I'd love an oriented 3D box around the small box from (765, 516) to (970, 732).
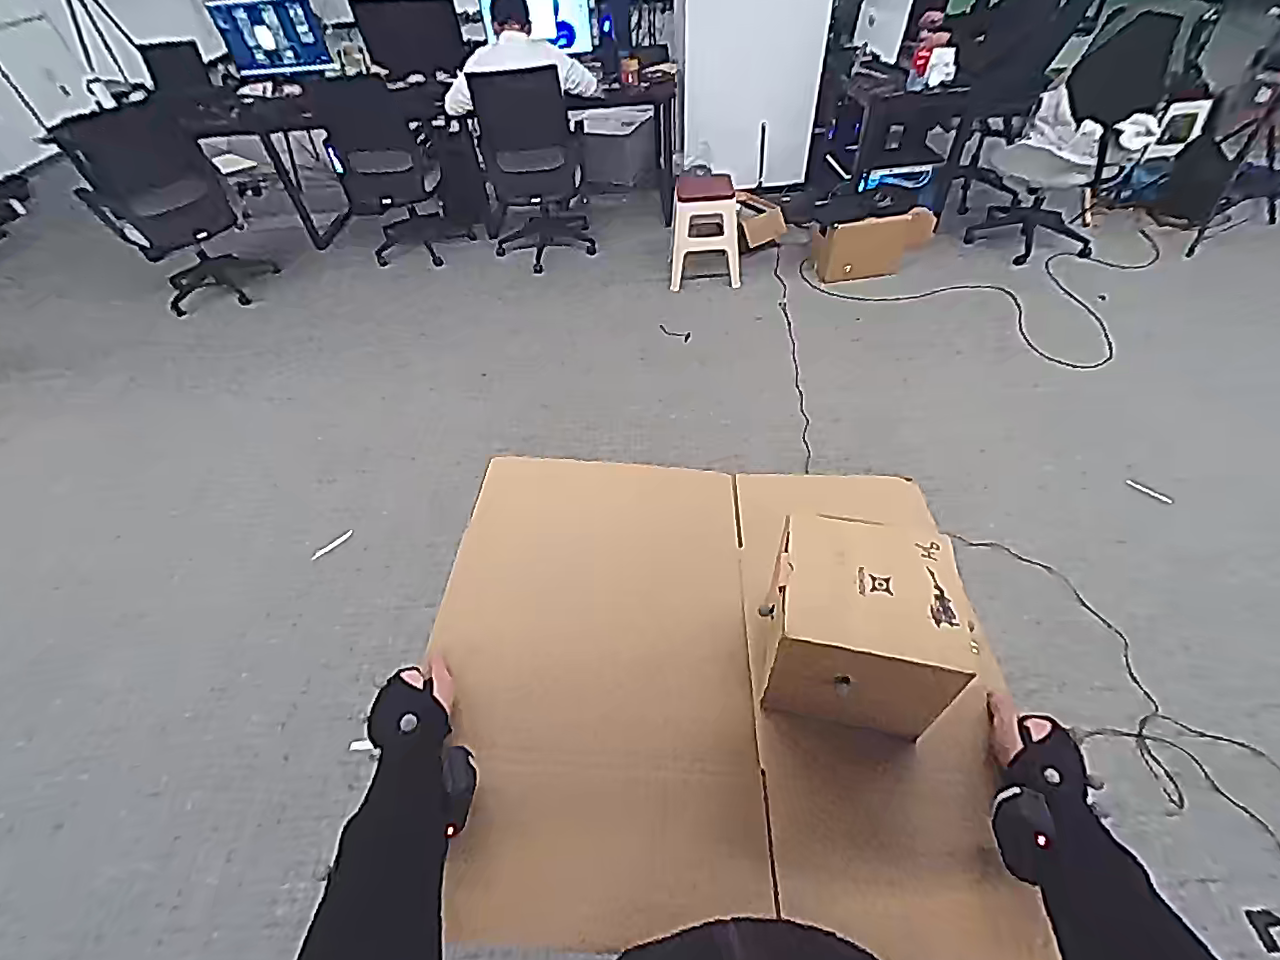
[{"bbox_3d":[0.243,0.166,0.622,0.179,0.176,0.168,8,47,11],"label":"small box"}]
